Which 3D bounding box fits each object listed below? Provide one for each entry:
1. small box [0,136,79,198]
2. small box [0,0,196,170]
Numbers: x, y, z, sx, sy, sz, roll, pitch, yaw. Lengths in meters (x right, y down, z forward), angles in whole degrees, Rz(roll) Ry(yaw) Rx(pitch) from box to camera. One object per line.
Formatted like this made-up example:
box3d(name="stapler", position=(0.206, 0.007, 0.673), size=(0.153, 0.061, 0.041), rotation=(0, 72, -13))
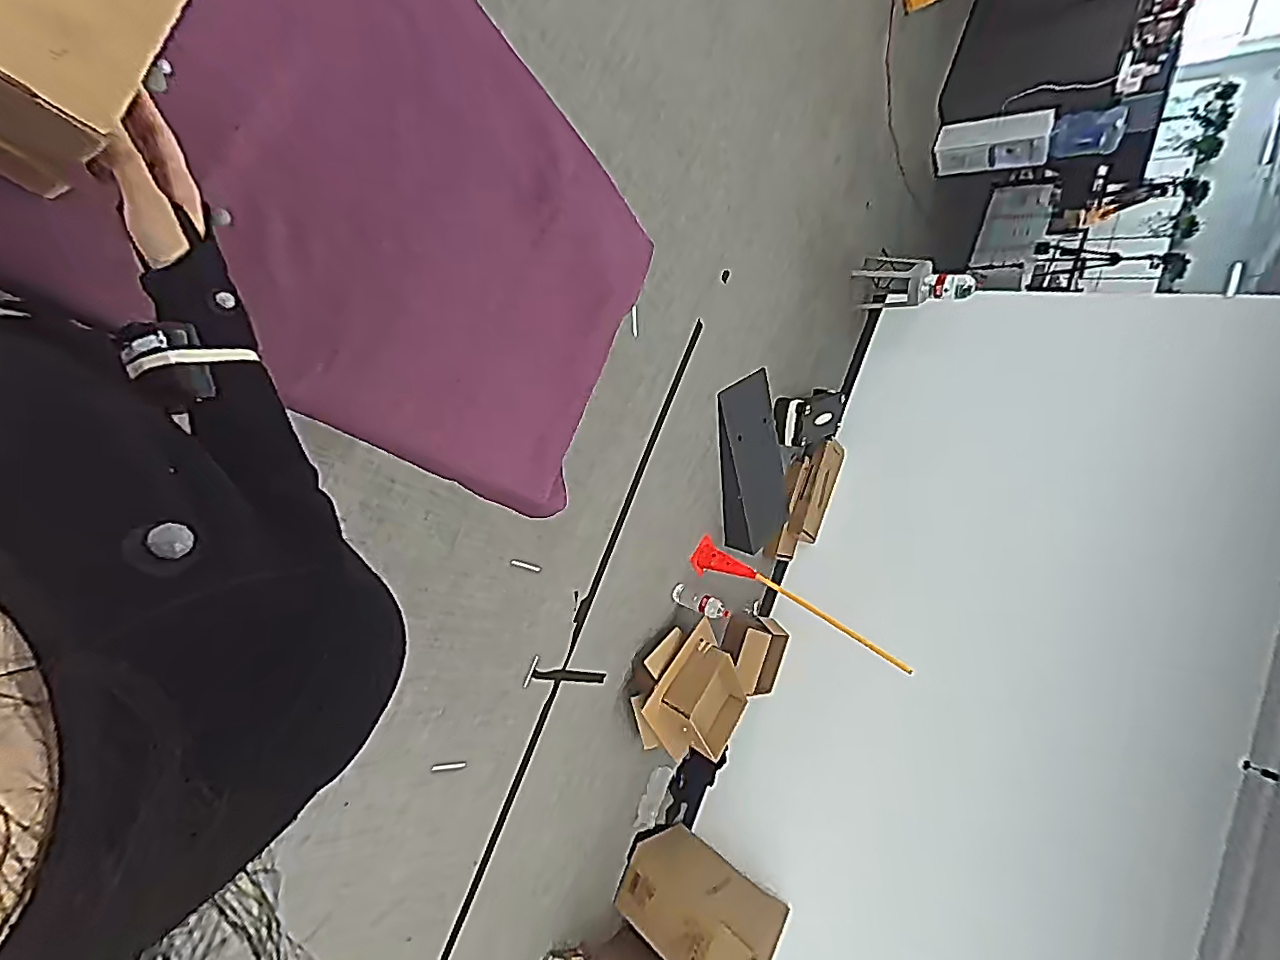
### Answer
box3d(name="small box", position=(-0.519, -0.352, 0.422), size=(0.168, 0.176, 0.179), rotation=(33, 76, -52))
box3d(name="small box", position=(-0.393, -0.320, 0.322), size=(0.168, 0.176, 0.179), rotation=(30, 79, -52))
